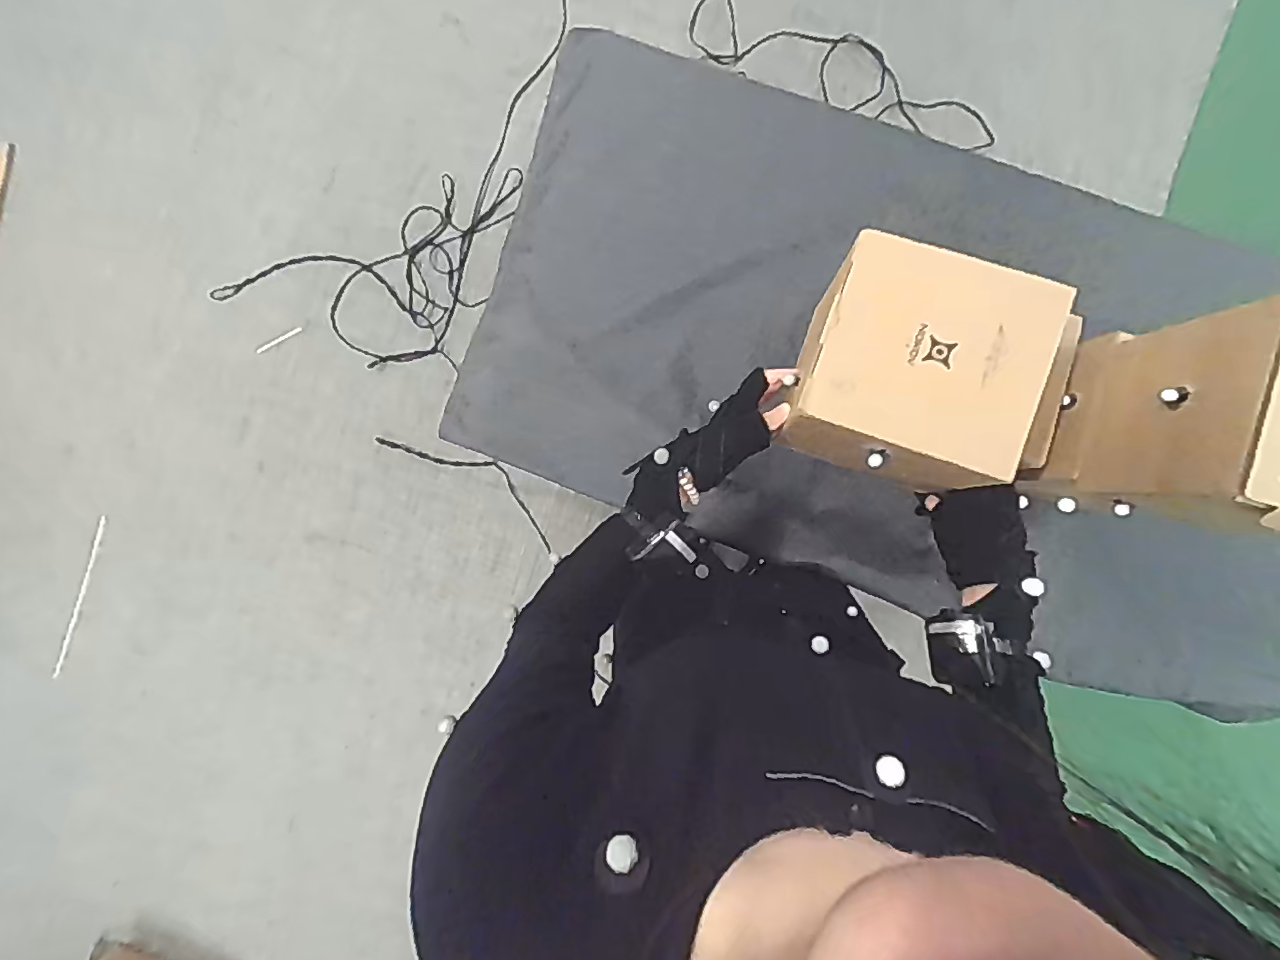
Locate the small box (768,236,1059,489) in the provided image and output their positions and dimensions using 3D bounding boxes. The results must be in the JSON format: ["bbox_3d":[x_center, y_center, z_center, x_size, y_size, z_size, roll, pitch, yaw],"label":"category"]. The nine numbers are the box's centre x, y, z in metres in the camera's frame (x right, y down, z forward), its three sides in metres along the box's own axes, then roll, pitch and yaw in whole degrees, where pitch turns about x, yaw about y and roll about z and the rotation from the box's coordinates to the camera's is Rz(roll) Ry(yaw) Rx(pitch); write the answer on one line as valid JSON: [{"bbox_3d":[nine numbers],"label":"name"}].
[{"bbox_3d":[0.236,-0.095,0.520,0.179,0.176,0.168,21,88,7],"label":"small box"}]

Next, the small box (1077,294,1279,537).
[{"bbox_3d":[0.573,-0.046,0.516,0.168,0.176,0.179,16,90,1],"label":"small box"}]
